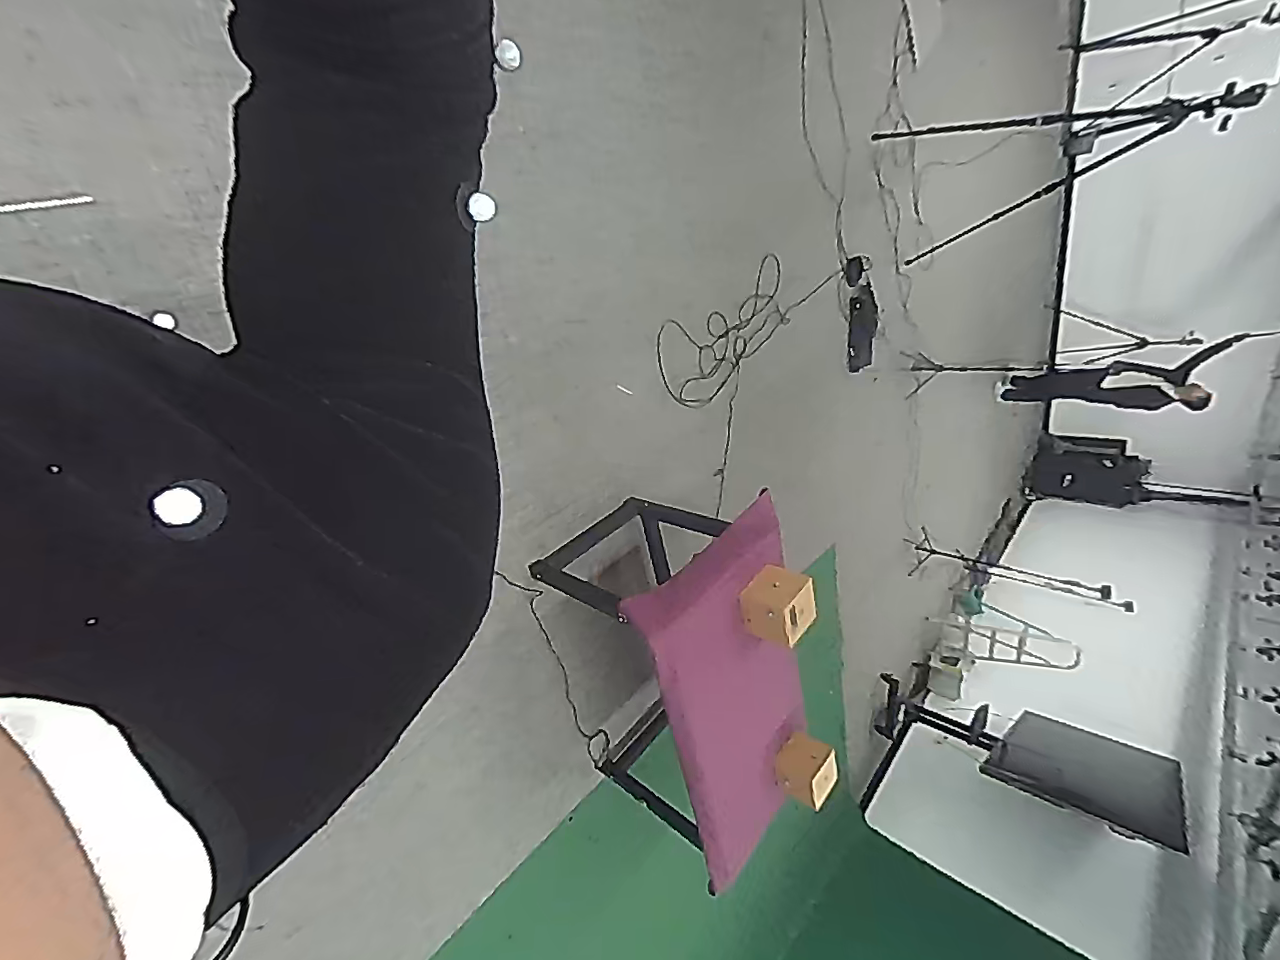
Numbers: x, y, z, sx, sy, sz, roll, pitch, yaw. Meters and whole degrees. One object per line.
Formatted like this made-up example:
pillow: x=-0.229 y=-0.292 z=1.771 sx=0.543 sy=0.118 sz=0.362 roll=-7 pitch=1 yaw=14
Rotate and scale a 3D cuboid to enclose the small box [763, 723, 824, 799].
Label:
small box: x=0.615 y=1.119 z=2.167 sx=0.179 sy=0.176 sz=0.168 roll=-31 pitch=118 yaw=-37
